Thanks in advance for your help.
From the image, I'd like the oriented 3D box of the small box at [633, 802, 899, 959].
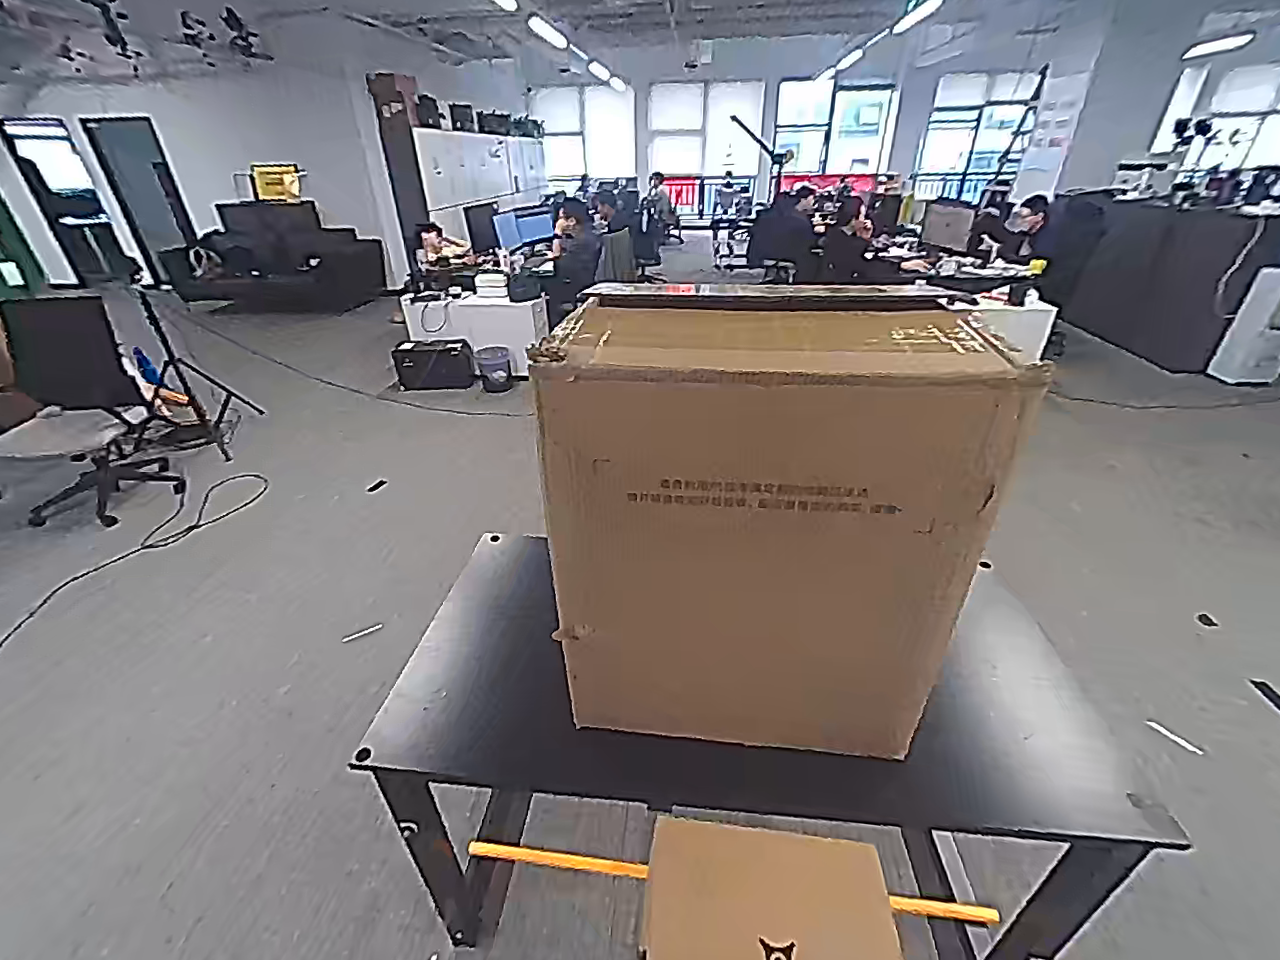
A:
[{"bbox_3d":[0.077,0.369,0.383,0.168,0.176,0.179,6,36,3],"label":"small box"}]
